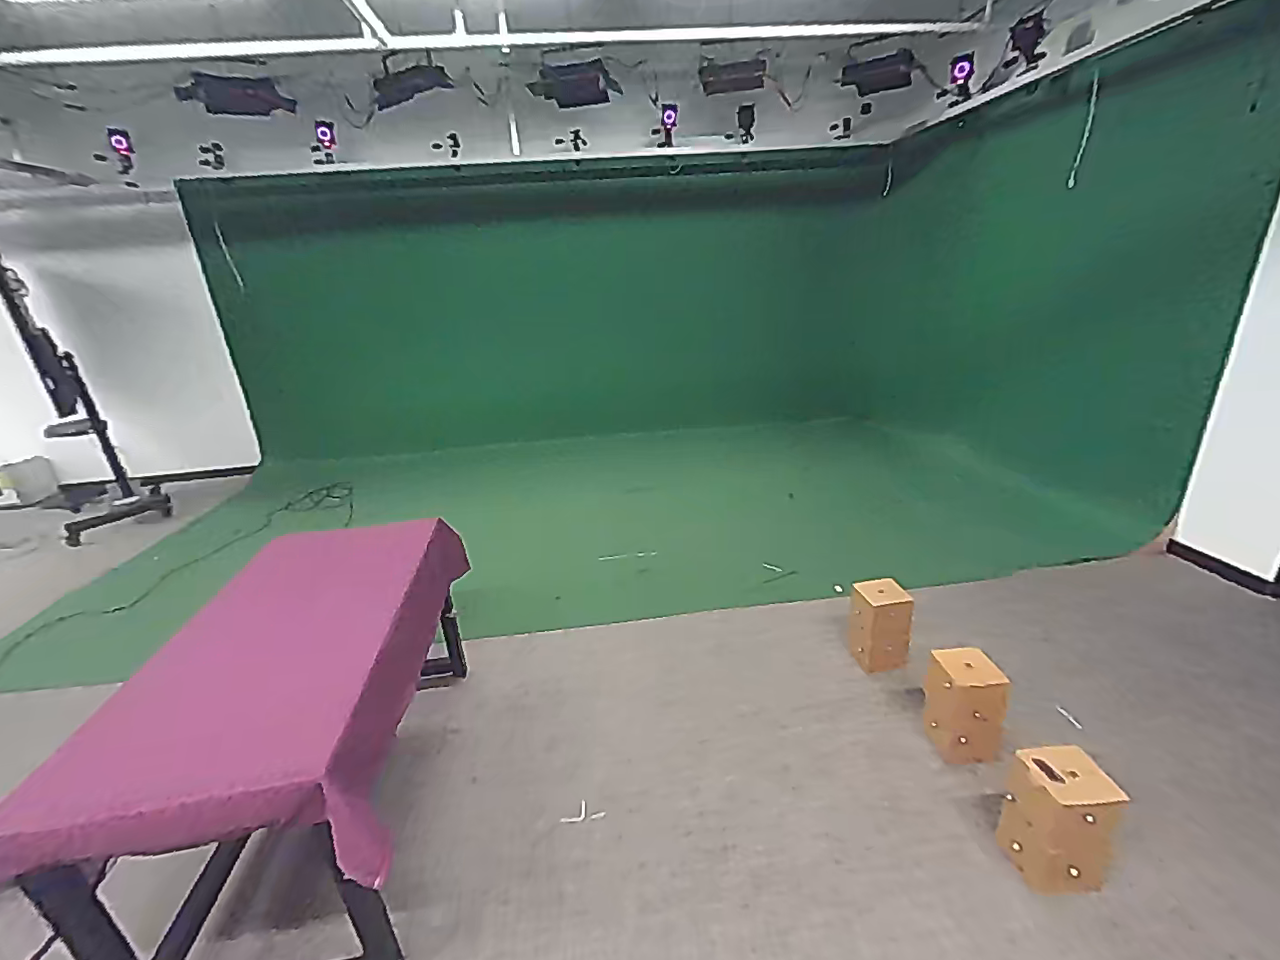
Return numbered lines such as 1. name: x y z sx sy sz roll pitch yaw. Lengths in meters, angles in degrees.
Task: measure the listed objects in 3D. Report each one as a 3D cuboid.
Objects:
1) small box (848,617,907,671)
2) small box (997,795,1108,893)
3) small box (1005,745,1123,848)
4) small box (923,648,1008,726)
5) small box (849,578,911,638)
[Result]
1. small box: 0.982 0.677 2.254 0.179 0.176 0.168 -5 22 -6
2. small box: 1.098 0.974 1.458 0.179 0.176 0.168 -5 21 -2
3. small box: 1.084 0.820 1.400 0.179 0.176 0.168 -3 21 -1
4. small box: 1.060 0.678 1.779 0.168 0.176 0.179 -4 21 -1
5. small box: 0.969 0.524 2.196 0.179 0.176 0.168 -6 22 -7
